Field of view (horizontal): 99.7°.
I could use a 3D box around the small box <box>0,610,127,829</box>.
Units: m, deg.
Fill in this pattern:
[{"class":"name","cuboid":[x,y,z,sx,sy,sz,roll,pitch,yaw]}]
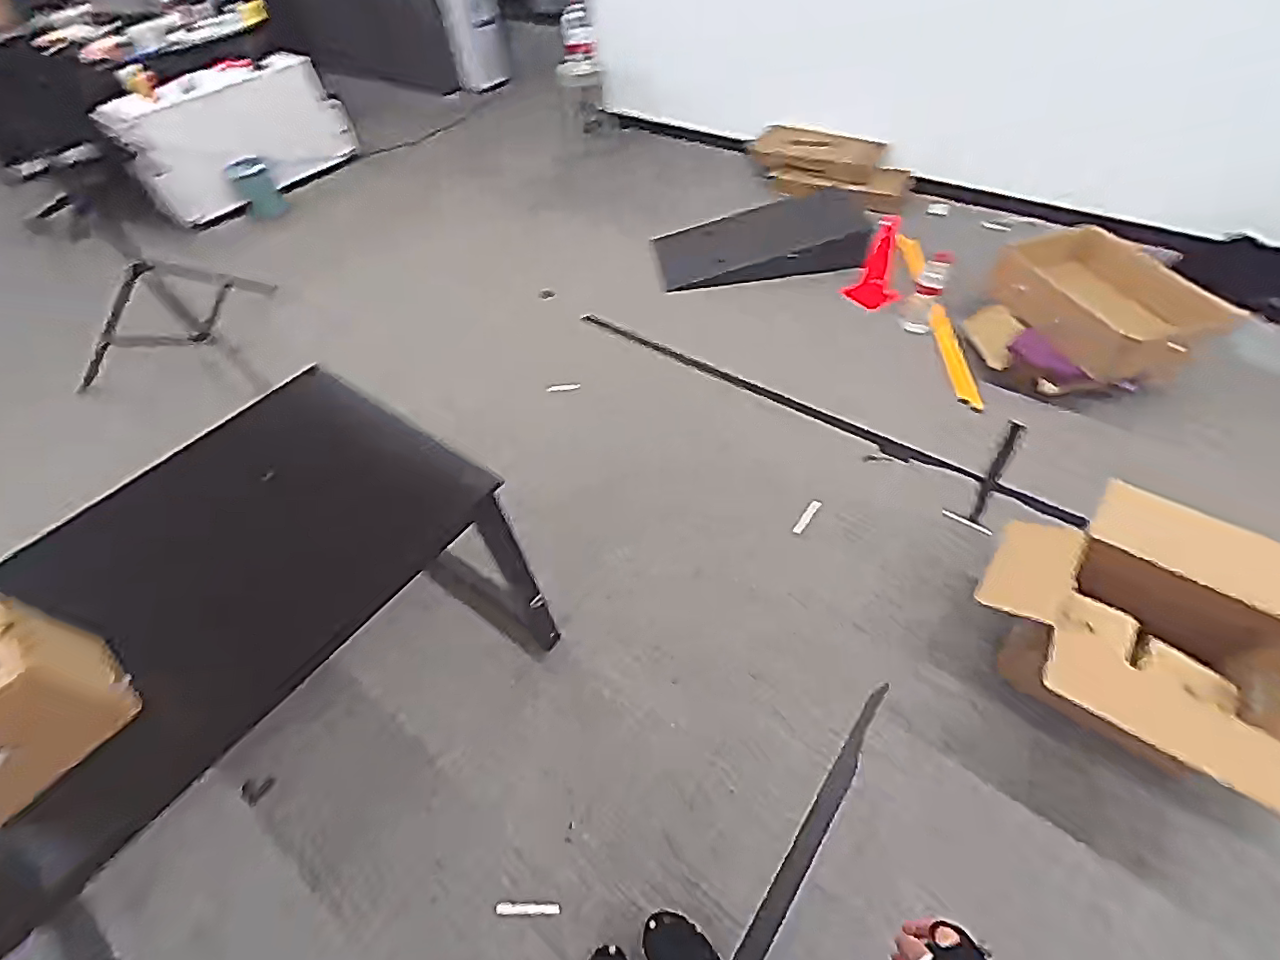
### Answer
[{"class":"small box","cuboid":[-0.816,0.302,0.685,0.168,0.176,0.179,28,60,25]}]
